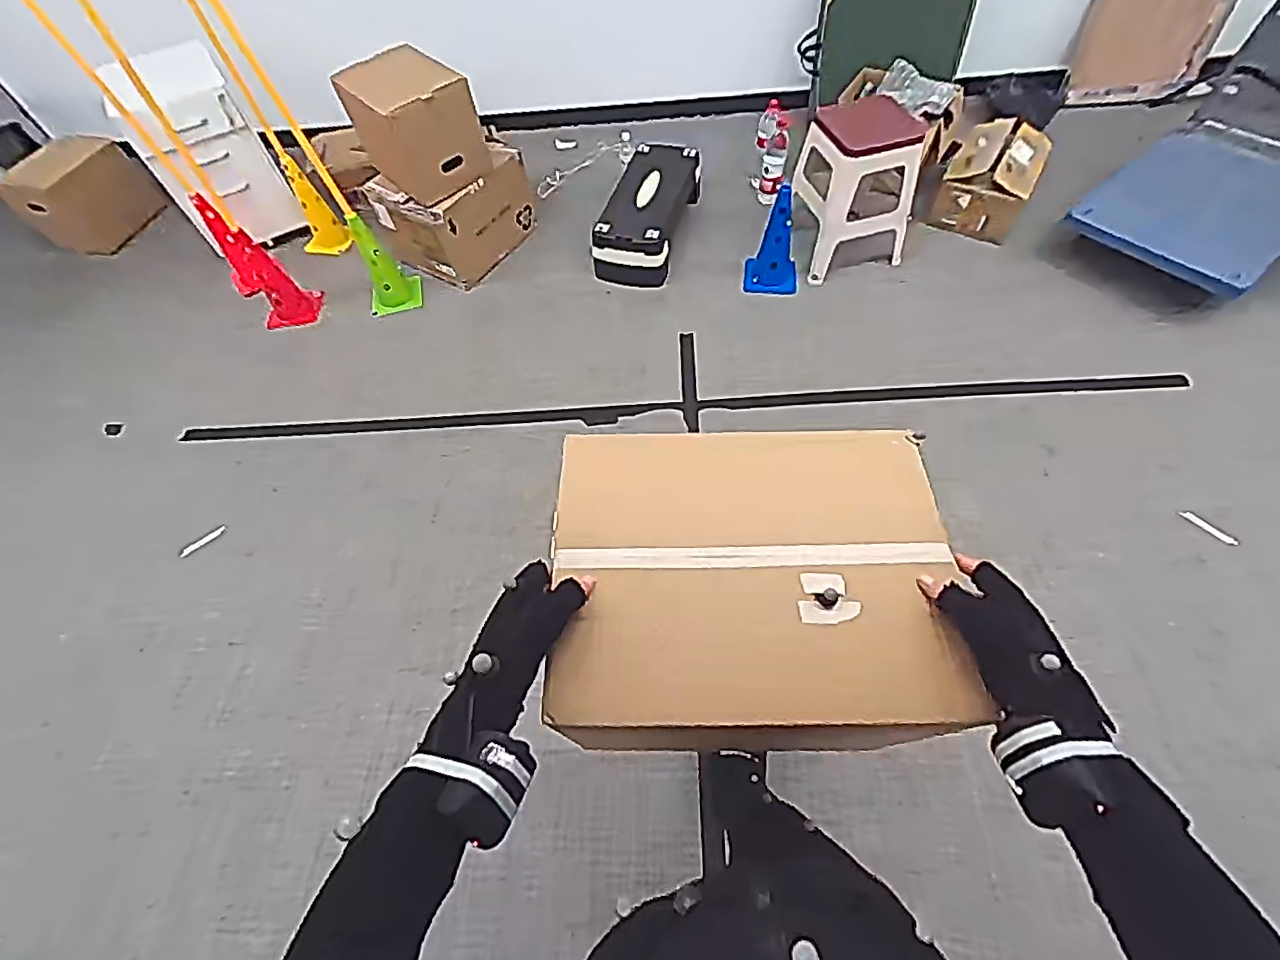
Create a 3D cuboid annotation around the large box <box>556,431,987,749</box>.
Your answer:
[{"bbox_3d":[0.117,0.155,0.692,0.408,0.320,0.320,-1,60,0],"label":"large box"}]
